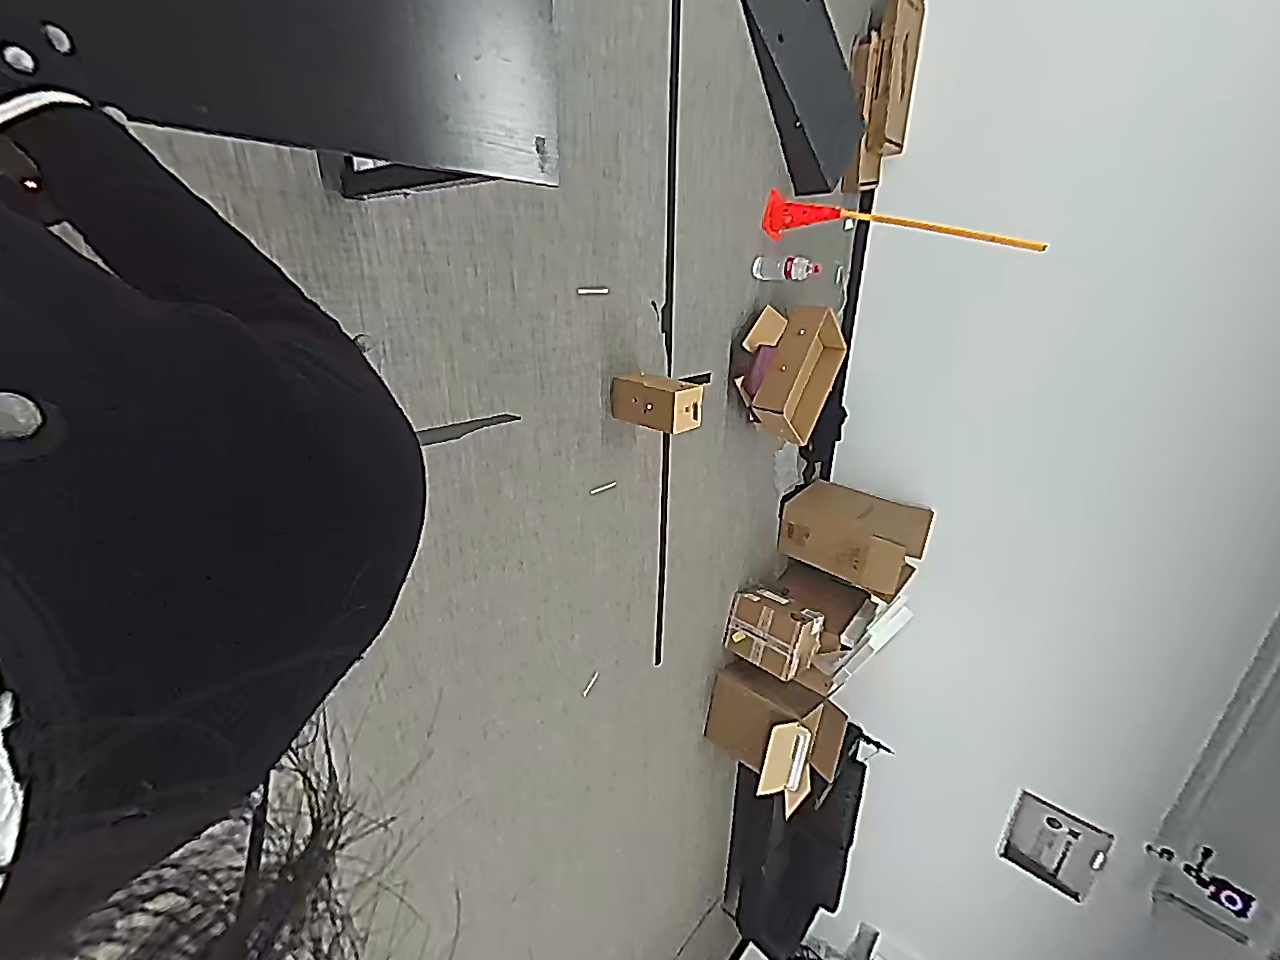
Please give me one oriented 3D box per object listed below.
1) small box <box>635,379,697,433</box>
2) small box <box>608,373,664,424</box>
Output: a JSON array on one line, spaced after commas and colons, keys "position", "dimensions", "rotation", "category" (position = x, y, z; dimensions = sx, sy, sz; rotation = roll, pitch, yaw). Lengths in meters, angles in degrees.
[{"position": [0.101, -0.294, 2.111], "dimensions": [0.179, 0.176, 0.168], "rotation": [-21, 121, -44], "category": "small box"}, {"position": [-0.018, -0.341, 2.215], "dimensions": [0.168, 0.176, 0.179], "rotation": [-21, 121, -44], "category": "small box"}]
